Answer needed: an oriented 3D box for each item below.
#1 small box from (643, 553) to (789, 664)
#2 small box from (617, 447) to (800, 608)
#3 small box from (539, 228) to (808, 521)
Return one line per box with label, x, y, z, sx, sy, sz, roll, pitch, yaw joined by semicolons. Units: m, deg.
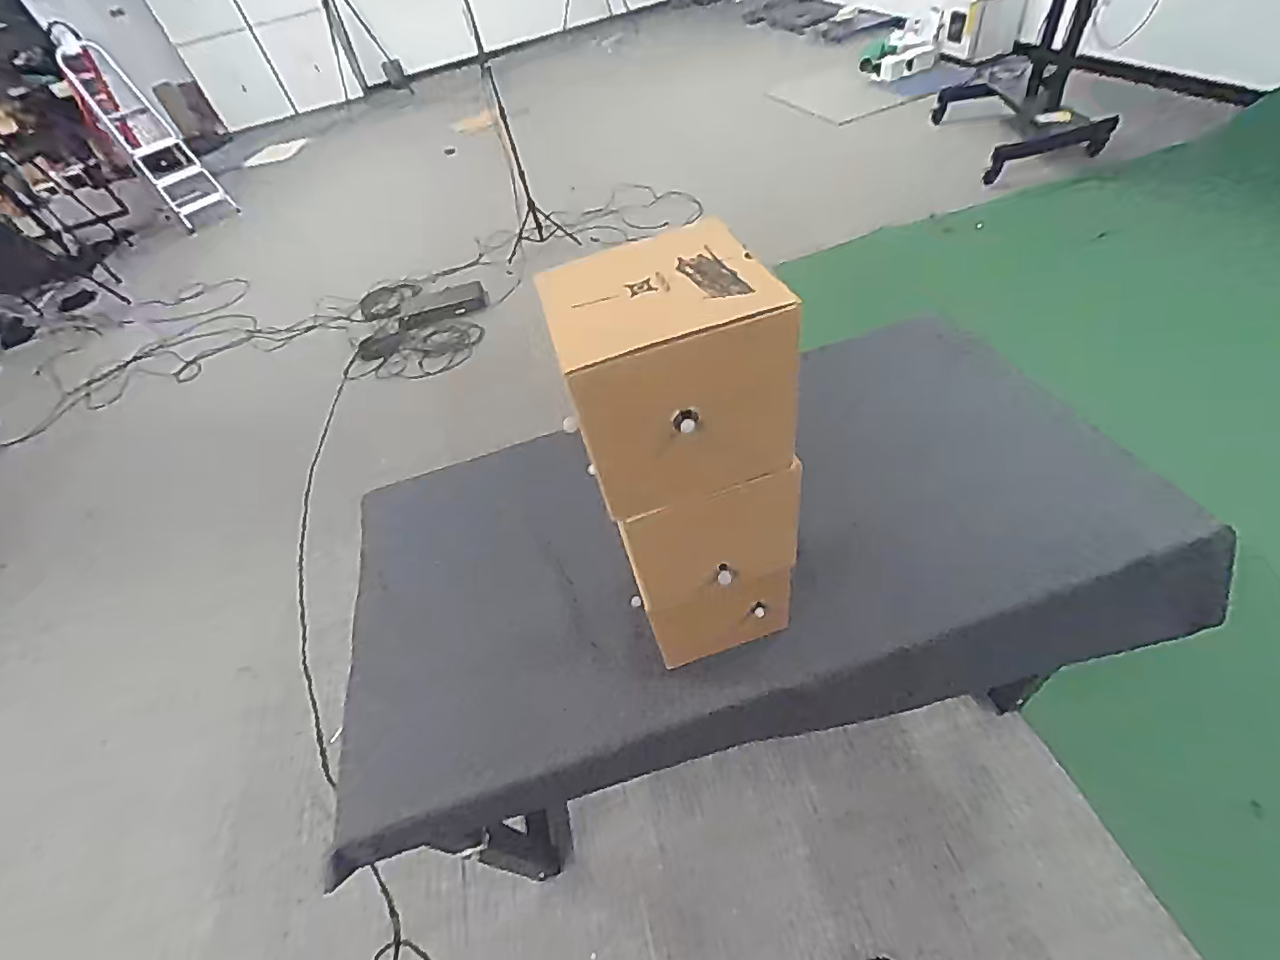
small box;0.084;0.120;0.729;0.179;0.176;0.168;-20;47;-2
small box;0.059;0.015;0.606;0.179;0.176;0.168;-18;47;-3
small box;0.026;-0.093;0.486;0.179;0.176;0.168;-19;47;-6
